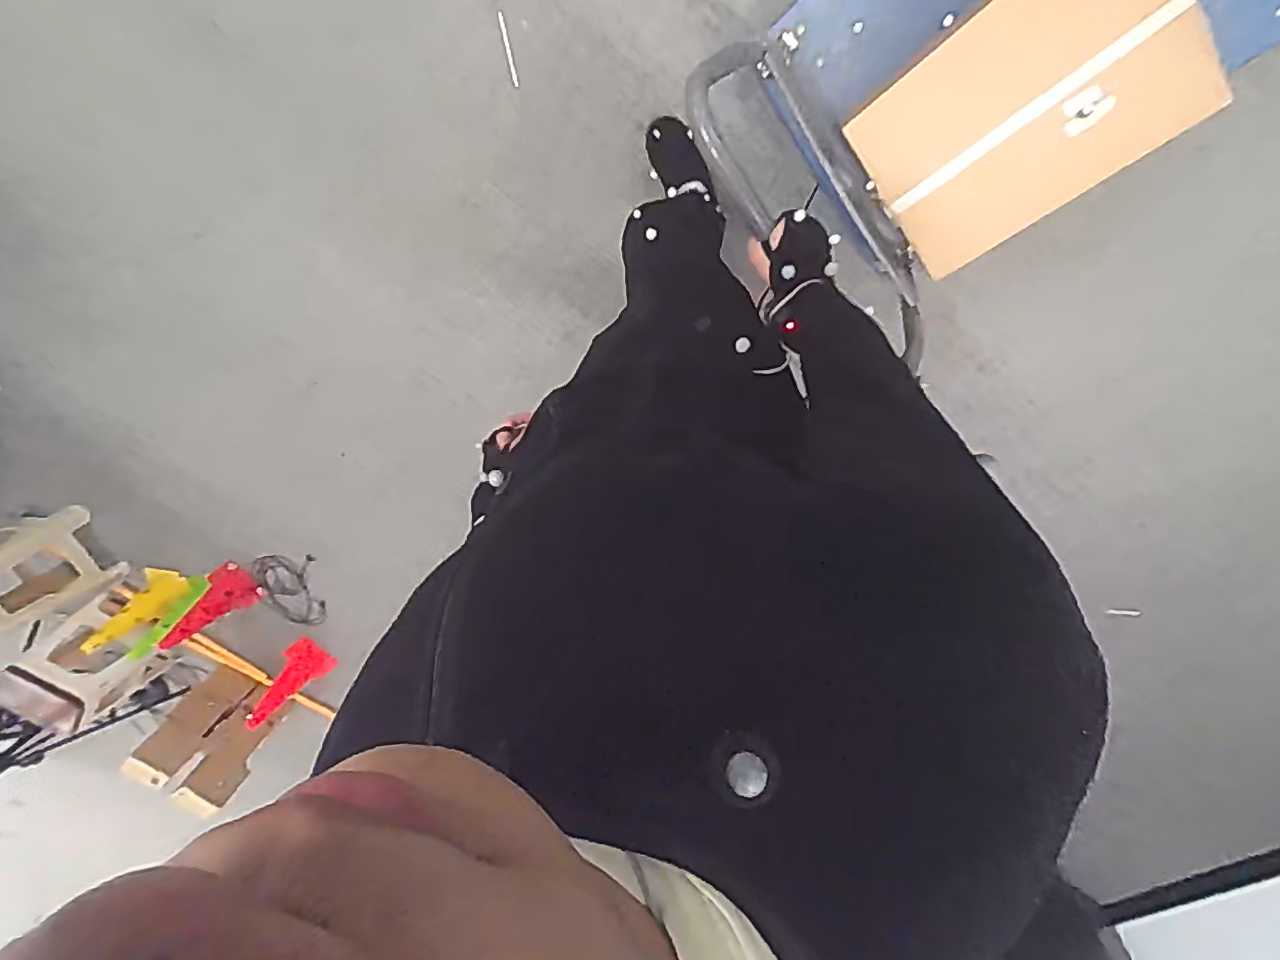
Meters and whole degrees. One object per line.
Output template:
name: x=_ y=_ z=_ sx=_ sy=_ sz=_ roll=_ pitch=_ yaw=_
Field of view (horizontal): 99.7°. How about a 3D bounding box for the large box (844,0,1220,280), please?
large box: x=0.616 y=-0.631 z=0.939 sx=0.408 sy=0.320 sz=0.320 roll=-30 pitch=111 yaw=34
